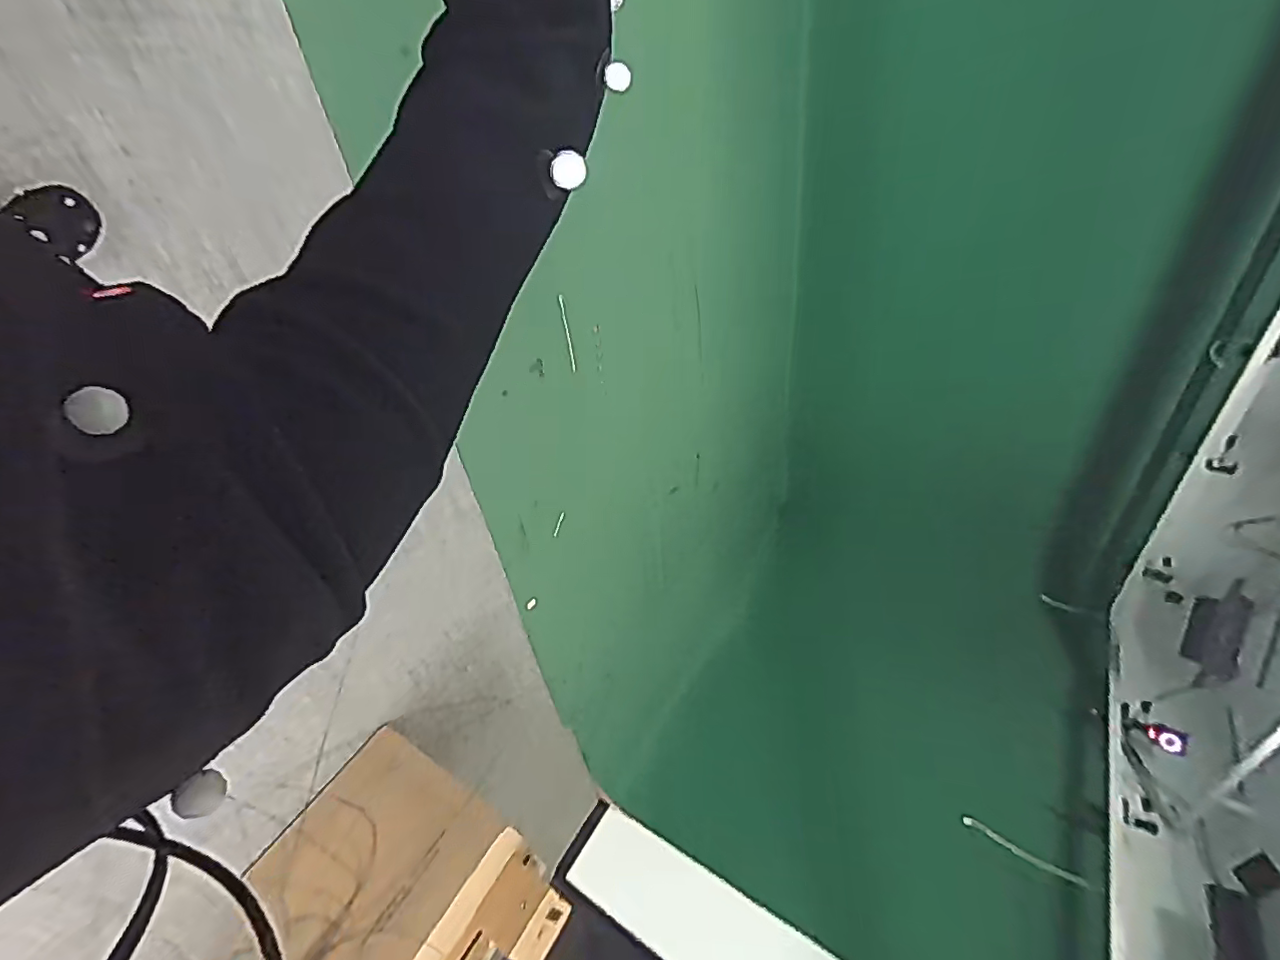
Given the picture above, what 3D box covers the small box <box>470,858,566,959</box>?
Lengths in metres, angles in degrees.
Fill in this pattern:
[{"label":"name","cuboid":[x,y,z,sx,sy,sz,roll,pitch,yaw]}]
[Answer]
[{"label":"small box","cuboid":[-0.349,1.232,1.546,0.179,0.176,0.168,-49,132,-36]}]
